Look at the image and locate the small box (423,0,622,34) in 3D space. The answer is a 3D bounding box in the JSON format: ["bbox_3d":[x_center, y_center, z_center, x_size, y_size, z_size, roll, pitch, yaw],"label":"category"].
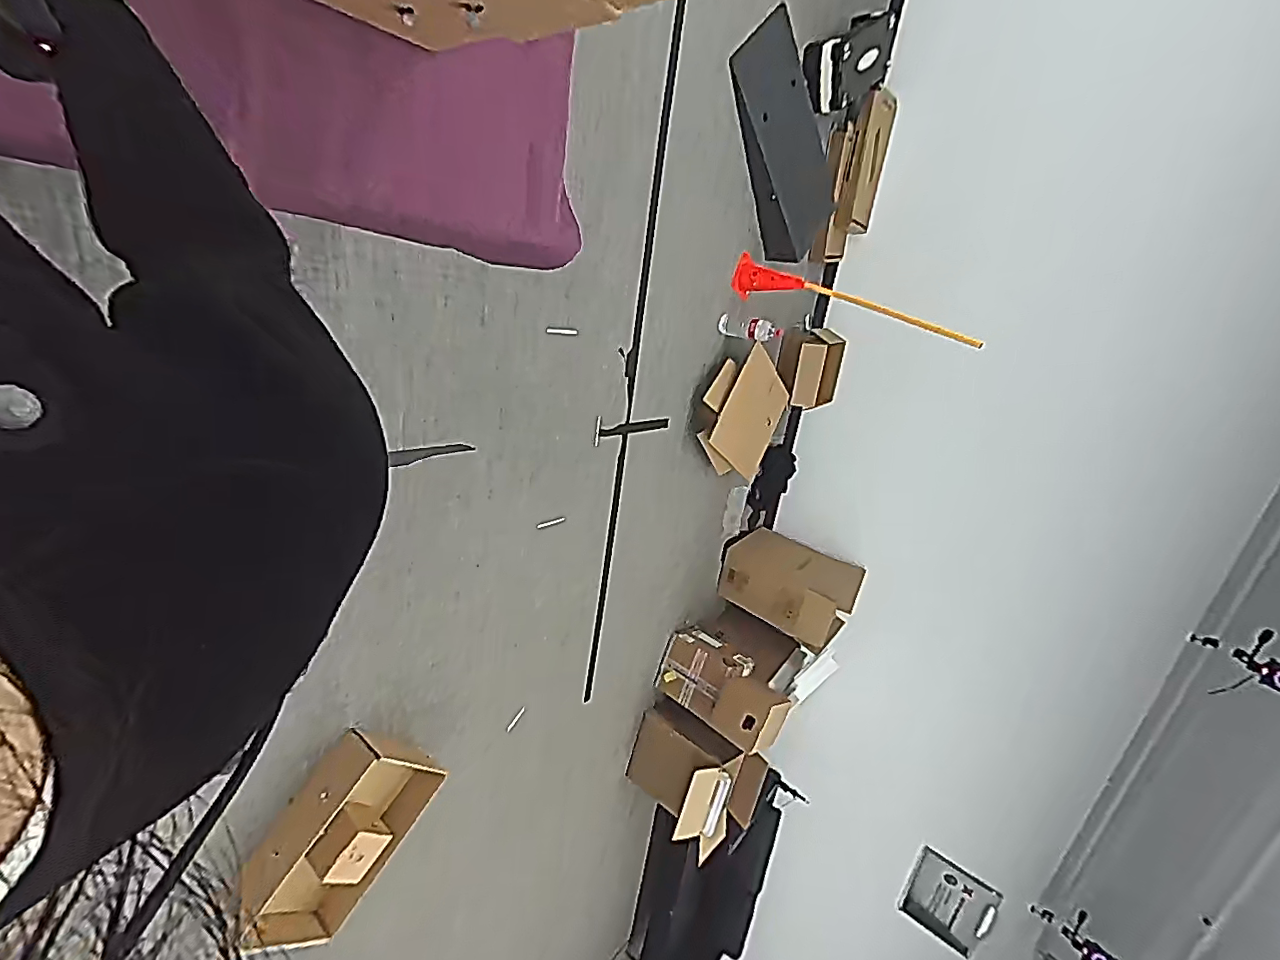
[{"bbox_3d":[-0.128,-0.535,0.487,0.179,0.176,0.168,-22,125,-47],"label":"small box"}]

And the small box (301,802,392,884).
[{"bbox_3d":[-0.989,1.222,1.825,0.168,0.176,0.179,-53,144,-22],"label":"small box"}]
